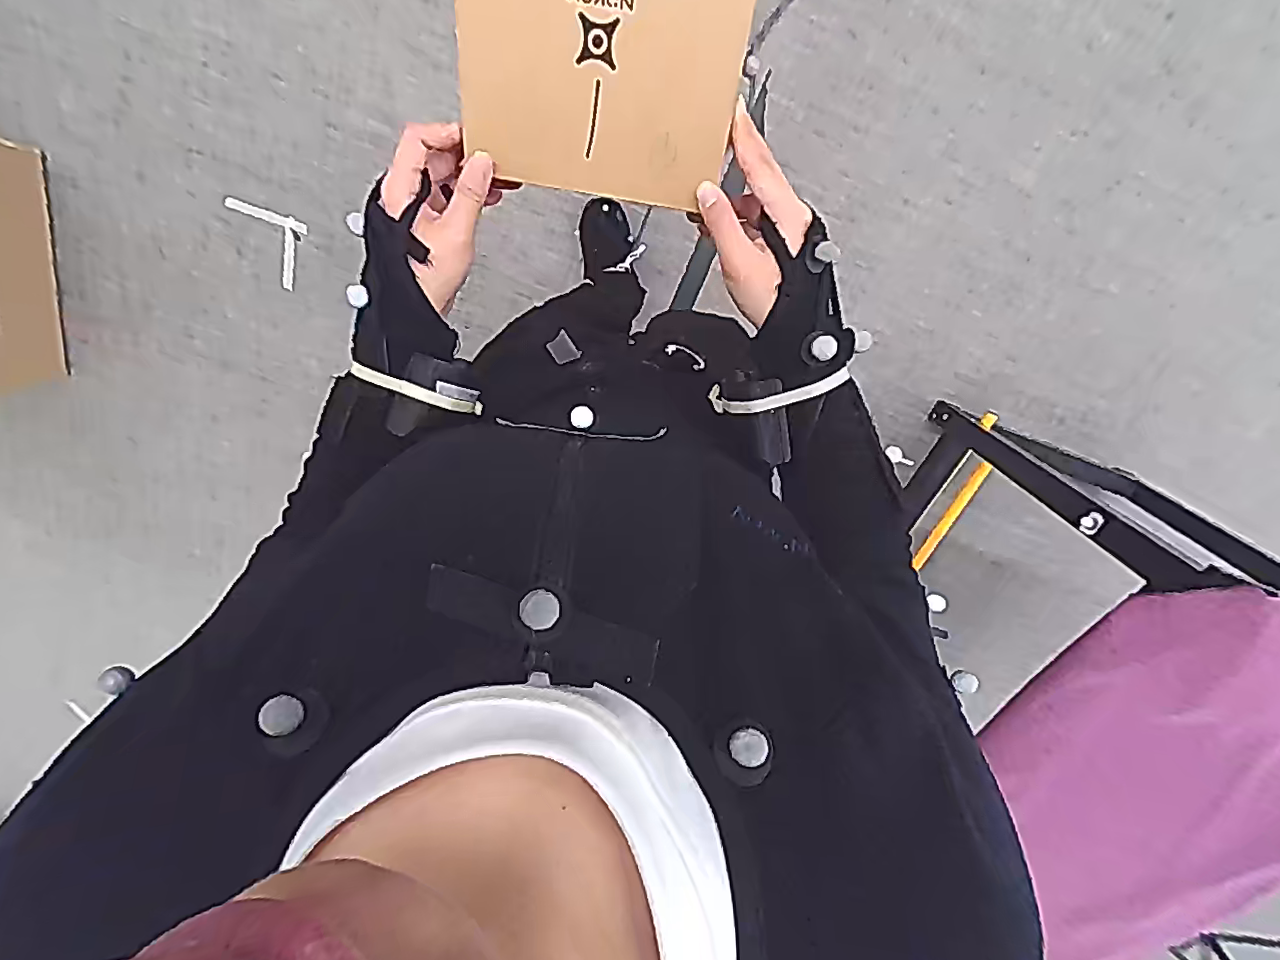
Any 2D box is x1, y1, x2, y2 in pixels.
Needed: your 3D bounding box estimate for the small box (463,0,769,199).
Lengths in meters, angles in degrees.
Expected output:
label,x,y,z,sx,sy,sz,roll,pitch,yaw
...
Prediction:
label,x,y,z,sx,sy,sz,roll,pitch,yaw
small box,-0.008,-0.309,0.352,0.168,0.176,0.179,10,129,-1
